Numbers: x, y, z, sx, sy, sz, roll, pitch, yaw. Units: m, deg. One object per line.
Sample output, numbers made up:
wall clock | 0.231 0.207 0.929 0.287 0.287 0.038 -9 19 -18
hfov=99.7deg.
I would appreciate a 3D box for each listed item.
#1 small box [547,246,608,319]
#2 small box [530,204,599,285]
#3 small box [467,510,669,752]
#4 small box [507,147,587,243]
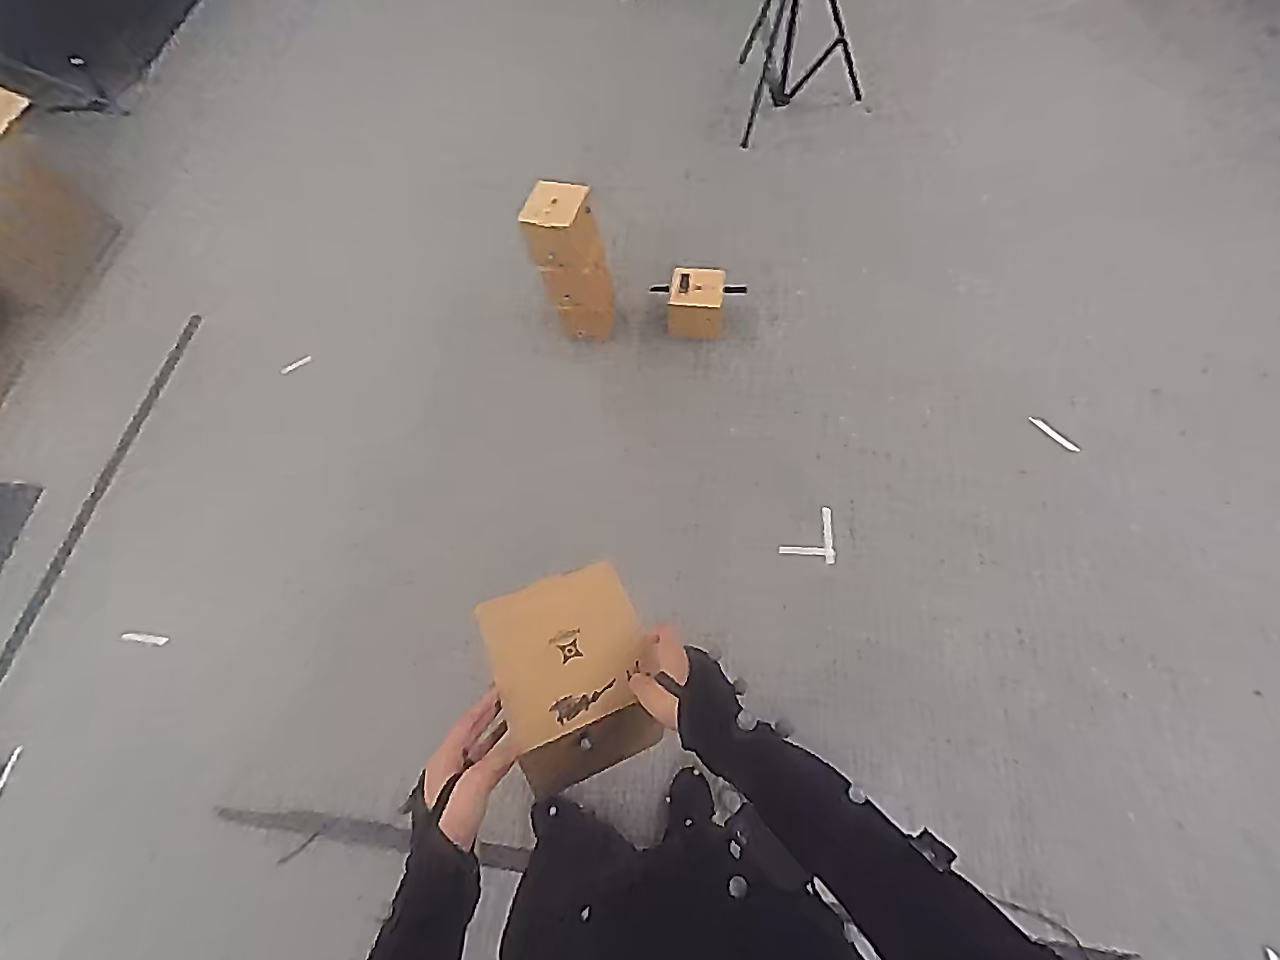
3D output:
small box | -0.210 -0.688 1.875 0.168 0.176 0.179 6 67 8
small box | -0.233 -0.758 1.732 0.168 0.176 0.179 9 68 10
small box | -0.082 0.167 0.604 0.168 0.176 0.179 -16 51 -17
small box | -0.263 -0.835 1.588 0.168 0.176 0.179 14 69 12
